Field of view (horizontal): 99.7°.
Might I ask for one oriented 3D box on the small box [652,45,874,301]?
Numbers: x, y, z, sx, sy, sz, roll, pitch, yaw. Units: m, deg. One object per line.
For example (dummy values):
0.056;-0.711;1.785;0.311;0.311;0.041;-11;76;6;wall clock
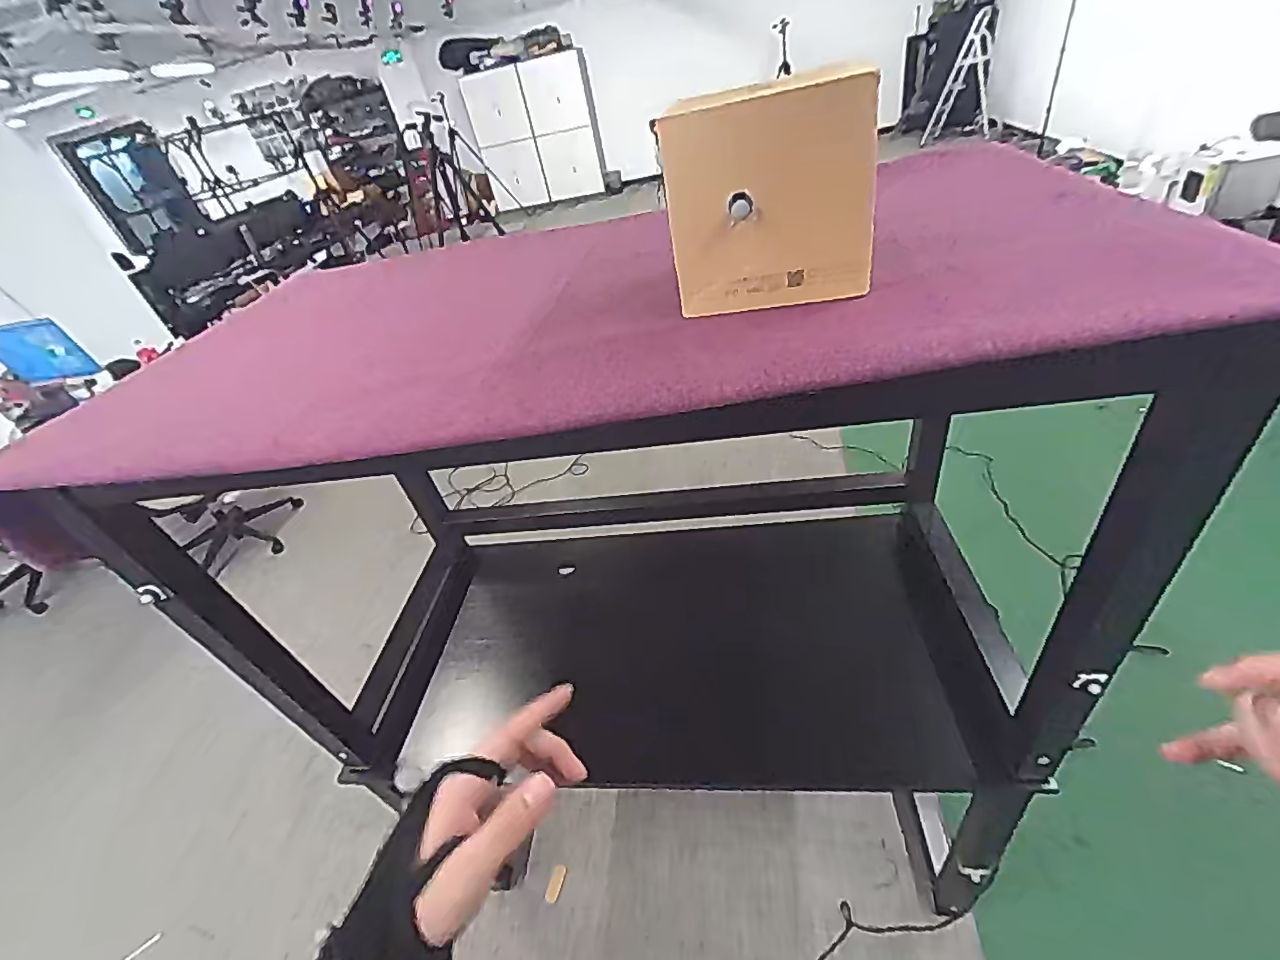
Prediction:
0.117;-0.277;0.506;0.168;0.176;0.179;-4;38;14;small box
